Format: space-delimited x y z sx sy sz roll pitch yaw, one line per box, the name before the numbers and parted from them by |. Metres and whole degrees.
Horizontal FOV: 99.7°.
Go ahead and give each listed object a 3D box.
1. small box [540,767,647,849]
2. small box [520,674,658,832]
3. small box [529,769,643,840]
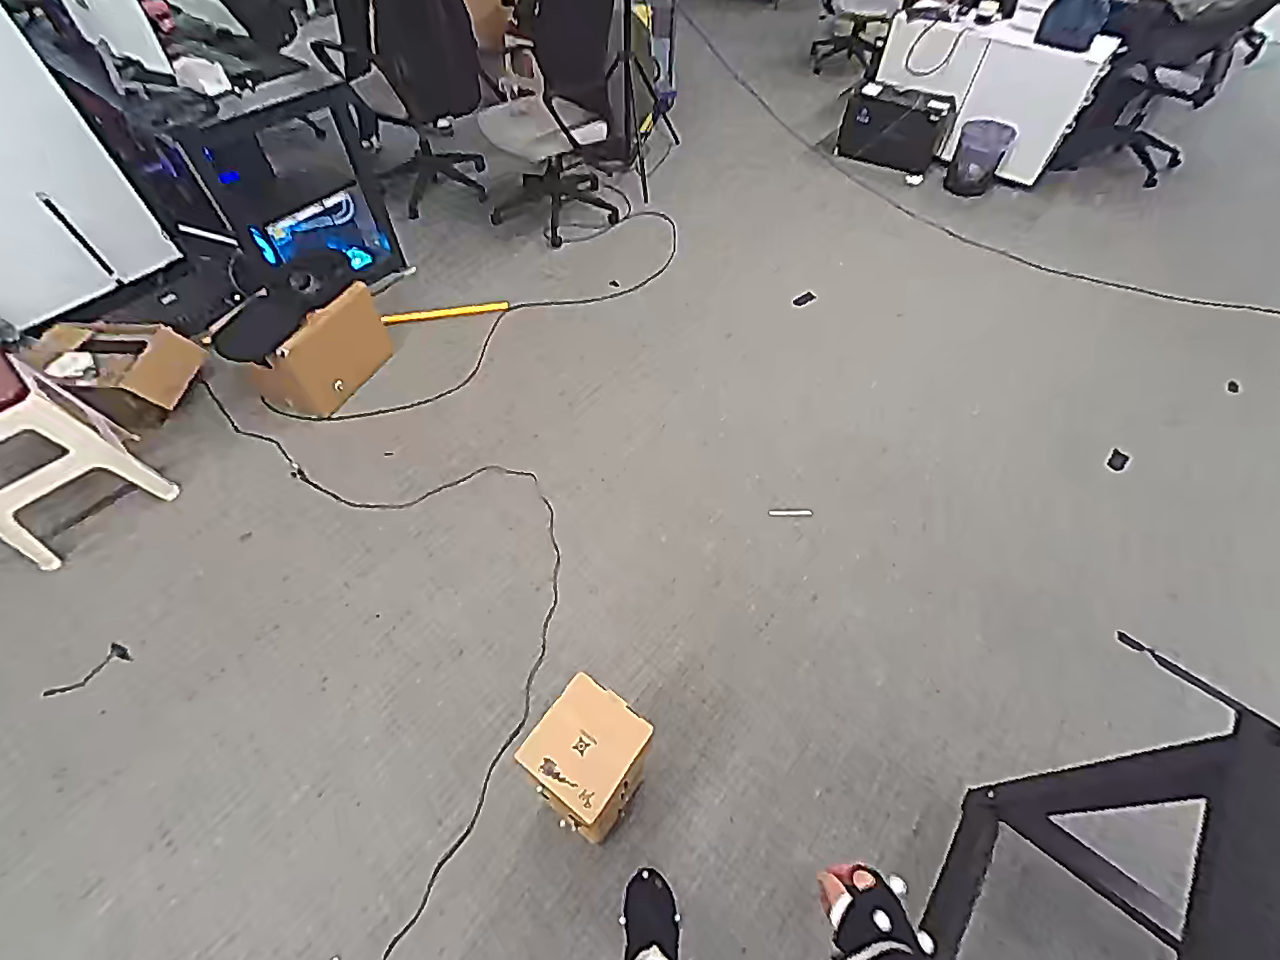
small box | -0.101 0.690 1.216 0.168 0.176 0.179 30 60 20
small box | -0.087 0.486 0.960 0.168 0.176 0.179 30 58 20
small box | -0.097 0.590 1.089 0.168 0.176 0.179 28 57 17
